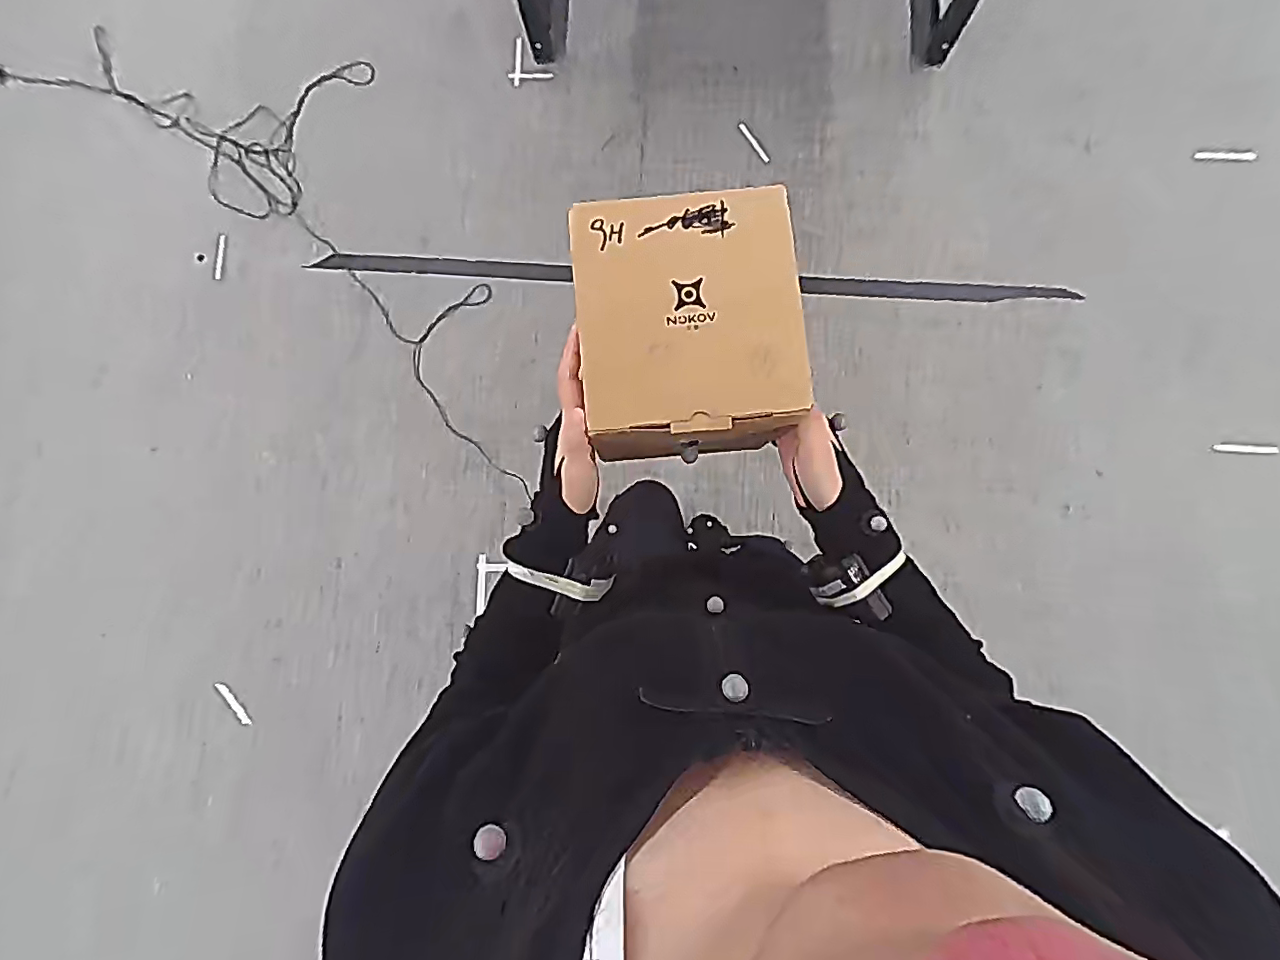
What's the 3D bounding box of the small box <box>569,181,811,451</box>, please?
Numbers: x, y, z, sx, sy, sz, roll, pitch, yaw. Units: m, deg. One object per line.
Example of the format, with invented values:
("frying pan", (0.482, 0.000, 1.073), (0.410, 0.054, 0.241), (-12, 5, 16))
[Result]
("small box", (0.037, -0.123, 0.476), (0.168, 0.176, 0.179), (-6, 85, 0))
